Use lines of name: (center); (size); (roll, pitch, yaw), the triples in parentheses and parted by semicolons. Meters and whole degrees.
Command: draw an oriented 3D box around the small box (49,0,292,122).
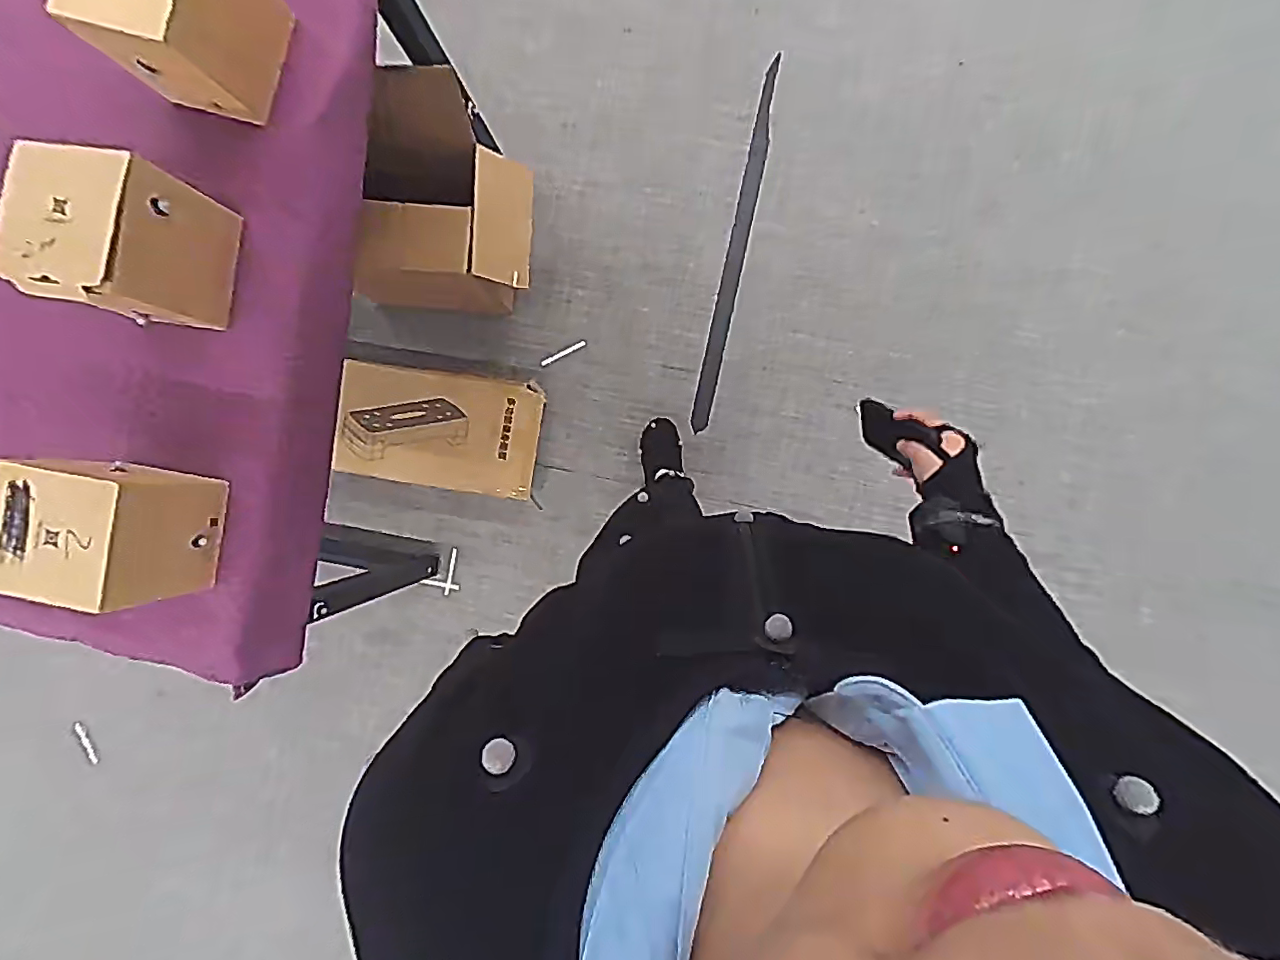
small box: (-0.617, -0.633, 0.734); (0.168, 0.176, 0.179); (16, 91, 4)

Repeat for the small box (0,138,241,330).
small box: (-0.692, -0.323, 0.739); (0.168, 0.176, 0.179); (9, 91, 7)
